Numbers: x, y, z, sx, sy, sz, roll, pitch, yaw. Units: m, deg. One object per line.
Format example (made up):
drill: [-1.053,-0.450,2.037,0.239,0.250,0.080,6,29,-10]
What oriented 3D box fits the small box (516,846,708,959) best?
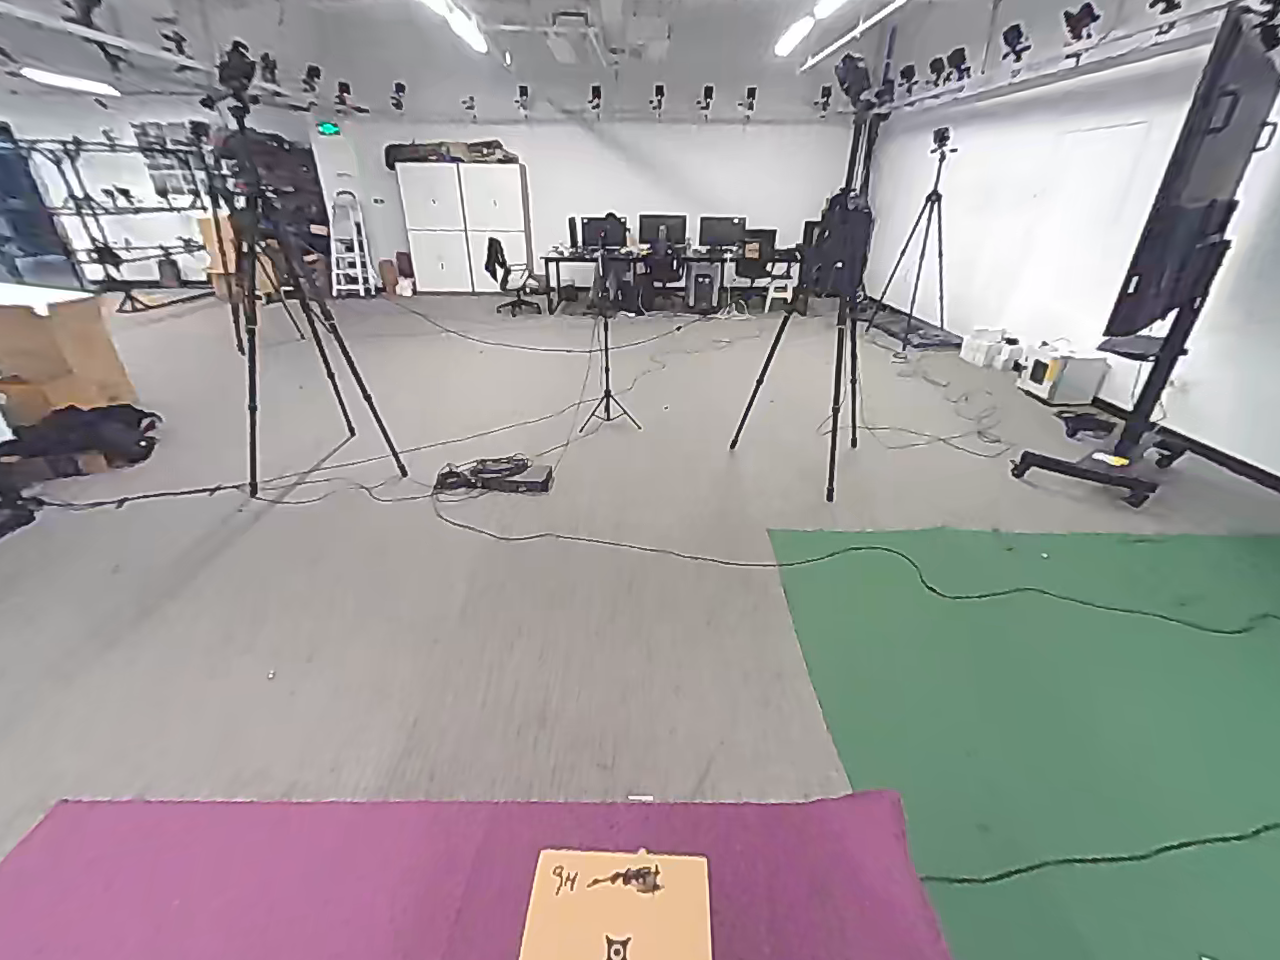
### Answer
small box: [-0.020,0.472,0.492,0.168,0.176,0.179,0,31,3]
